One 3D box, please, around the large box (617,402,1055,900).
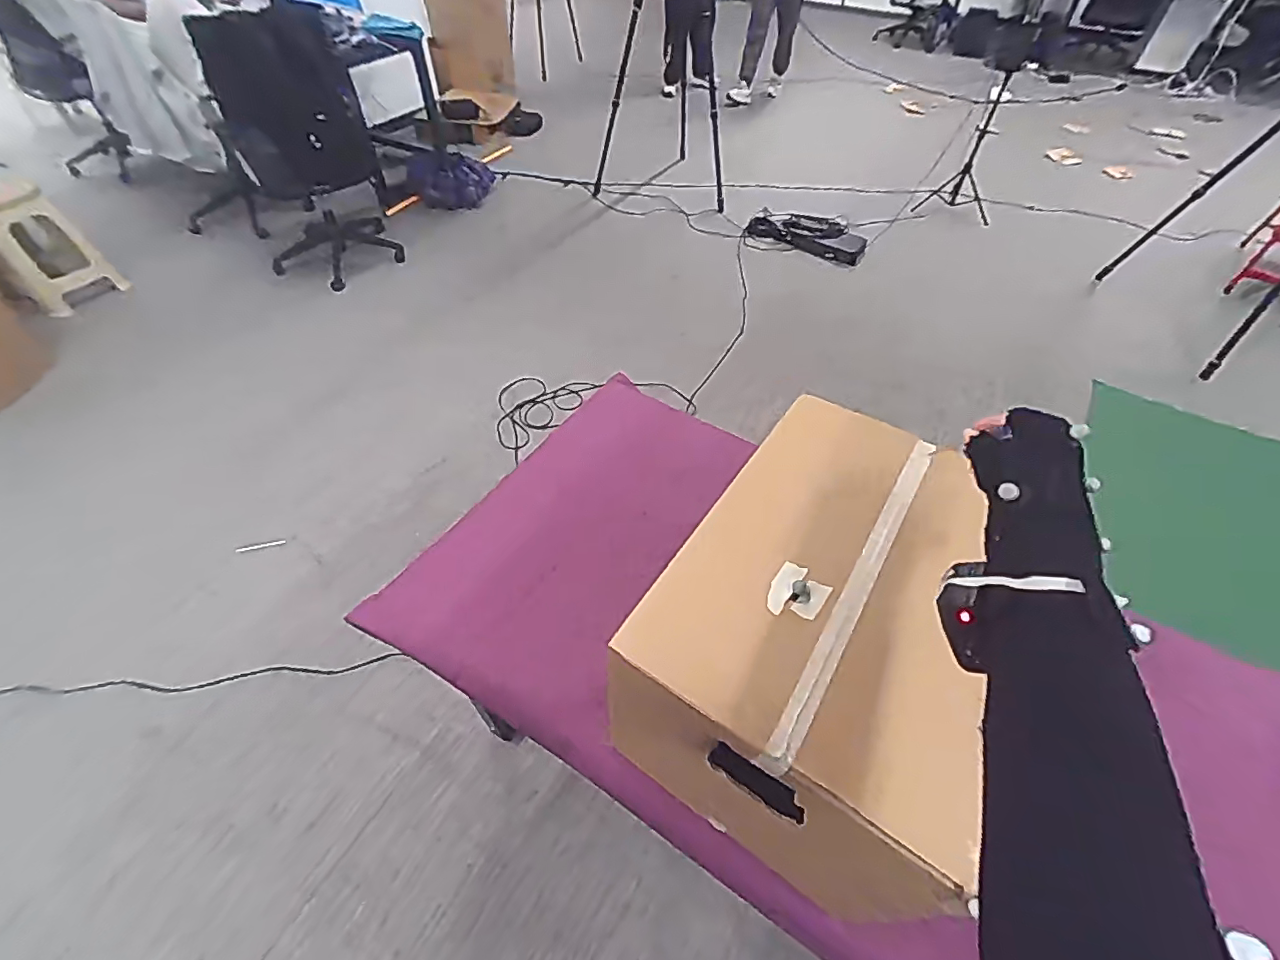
[{"bbox_3d":[0.208,0.186,0.643,0.320,0.320,0.408,29,56,21],"label":"large box"}]
